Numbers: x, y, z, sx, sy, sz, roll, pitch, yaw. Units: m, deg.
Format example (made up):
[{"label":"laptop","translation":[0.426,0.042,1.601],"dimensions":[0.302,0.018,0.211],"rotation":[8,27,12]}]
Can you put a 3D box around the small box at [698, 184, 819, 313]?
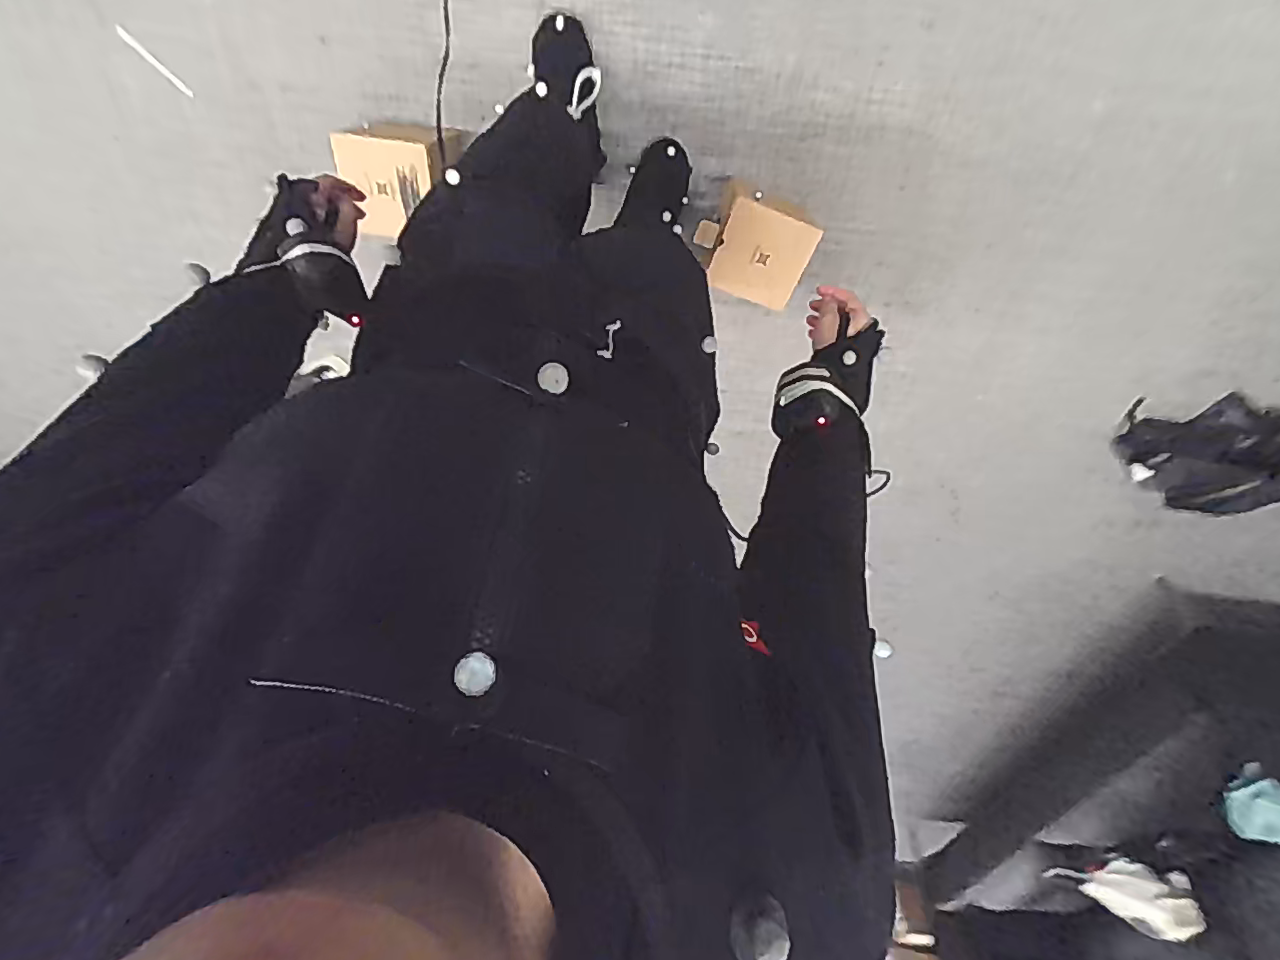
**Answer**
[{"label":"small box","translation":[0.228,-0.468,1.083],"dimensions":[0.179,0.176,0.168],"rotation":[18,129,-8]}]
